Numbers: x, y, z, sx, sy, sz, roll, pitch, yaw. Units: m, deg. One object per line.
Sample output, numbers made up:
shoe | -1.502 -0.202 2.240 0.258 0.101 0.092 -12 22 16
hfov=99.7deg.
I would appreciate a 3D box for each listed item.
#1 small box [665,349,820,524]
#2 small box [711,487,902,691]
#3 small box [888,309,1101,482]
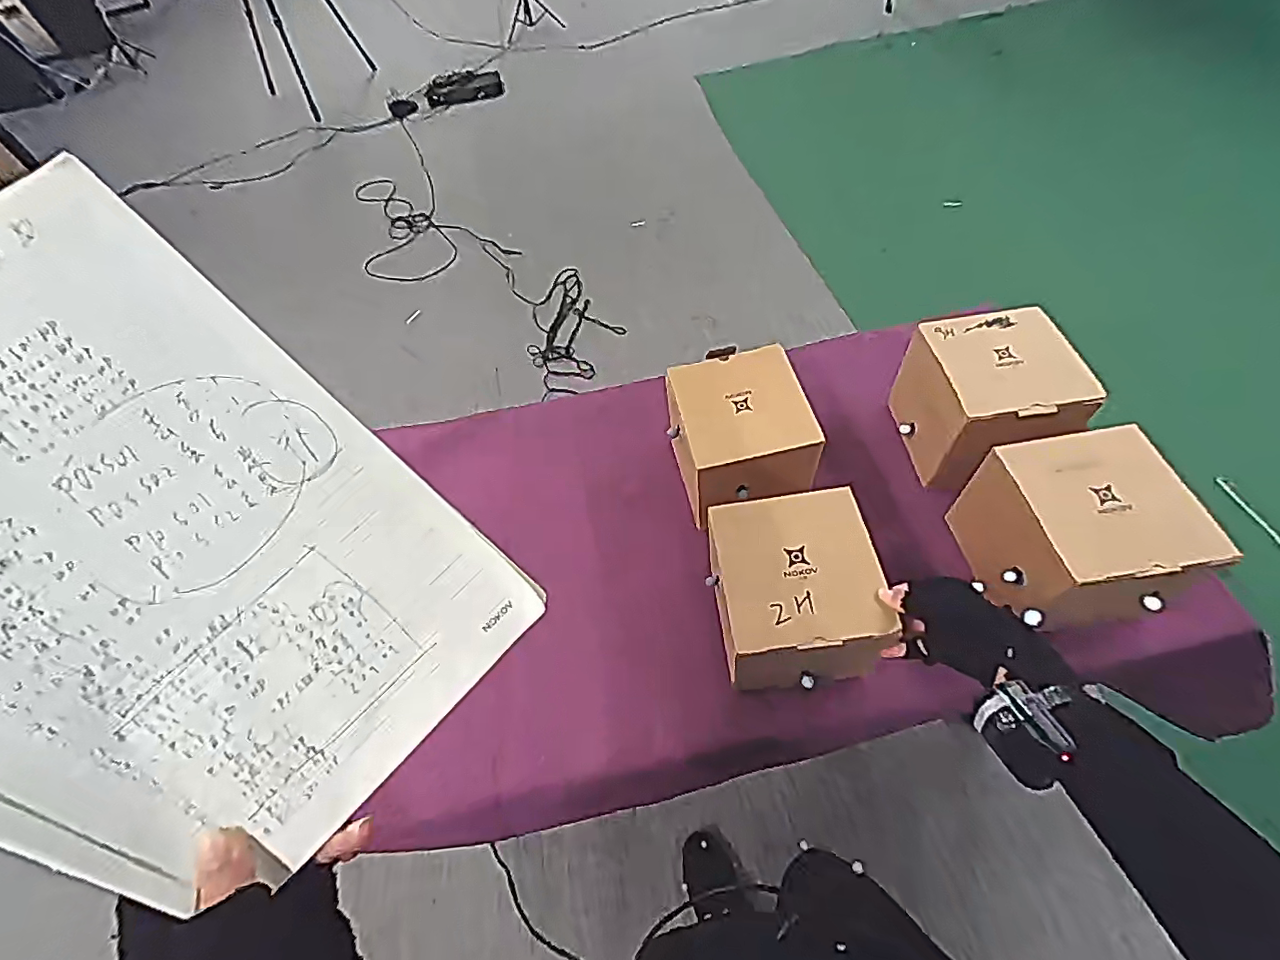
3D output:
small box | 0.140 -0.053 0.775 0.168 0.176 0.179 -13 56 -1
small box | 0.177 0.134 0.642 0.168 0.176 0.179 -9 56 3
small box | 0.476 -0.109 0.761 0.168 0.176 0.179 -7 57 3
